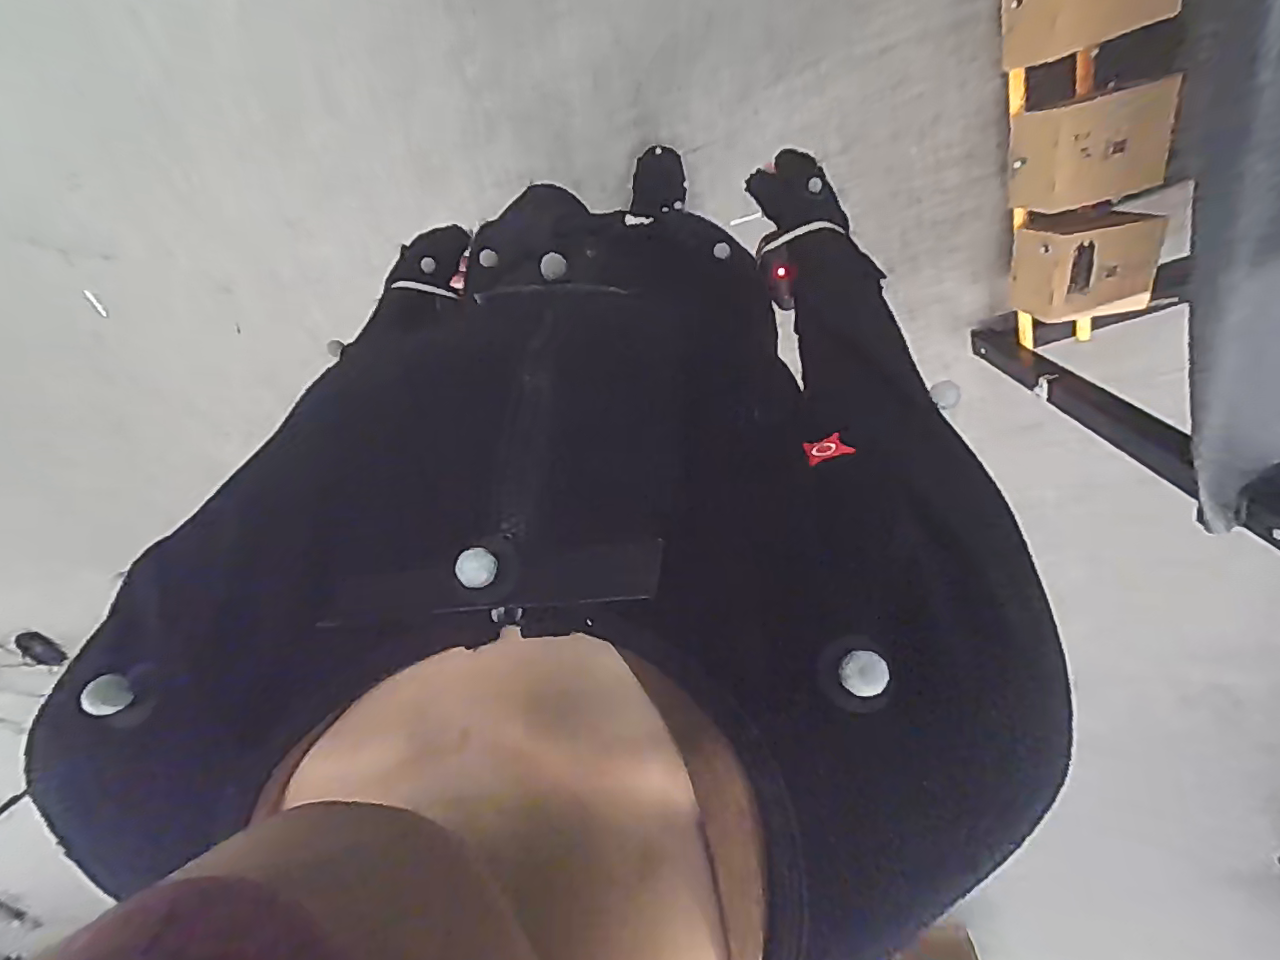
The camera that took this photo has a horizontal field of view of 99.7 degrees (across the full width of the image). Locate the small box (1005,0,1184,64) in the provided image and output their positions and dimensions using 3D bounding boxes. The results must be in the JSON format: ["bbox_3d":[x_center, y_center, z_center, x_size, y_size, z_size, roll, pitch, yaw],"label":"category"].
[{"bbox_3d":[0.722,-0.803,0.866,0.179,0.176,0.168,-13,120,15],"label":"small box"}]
